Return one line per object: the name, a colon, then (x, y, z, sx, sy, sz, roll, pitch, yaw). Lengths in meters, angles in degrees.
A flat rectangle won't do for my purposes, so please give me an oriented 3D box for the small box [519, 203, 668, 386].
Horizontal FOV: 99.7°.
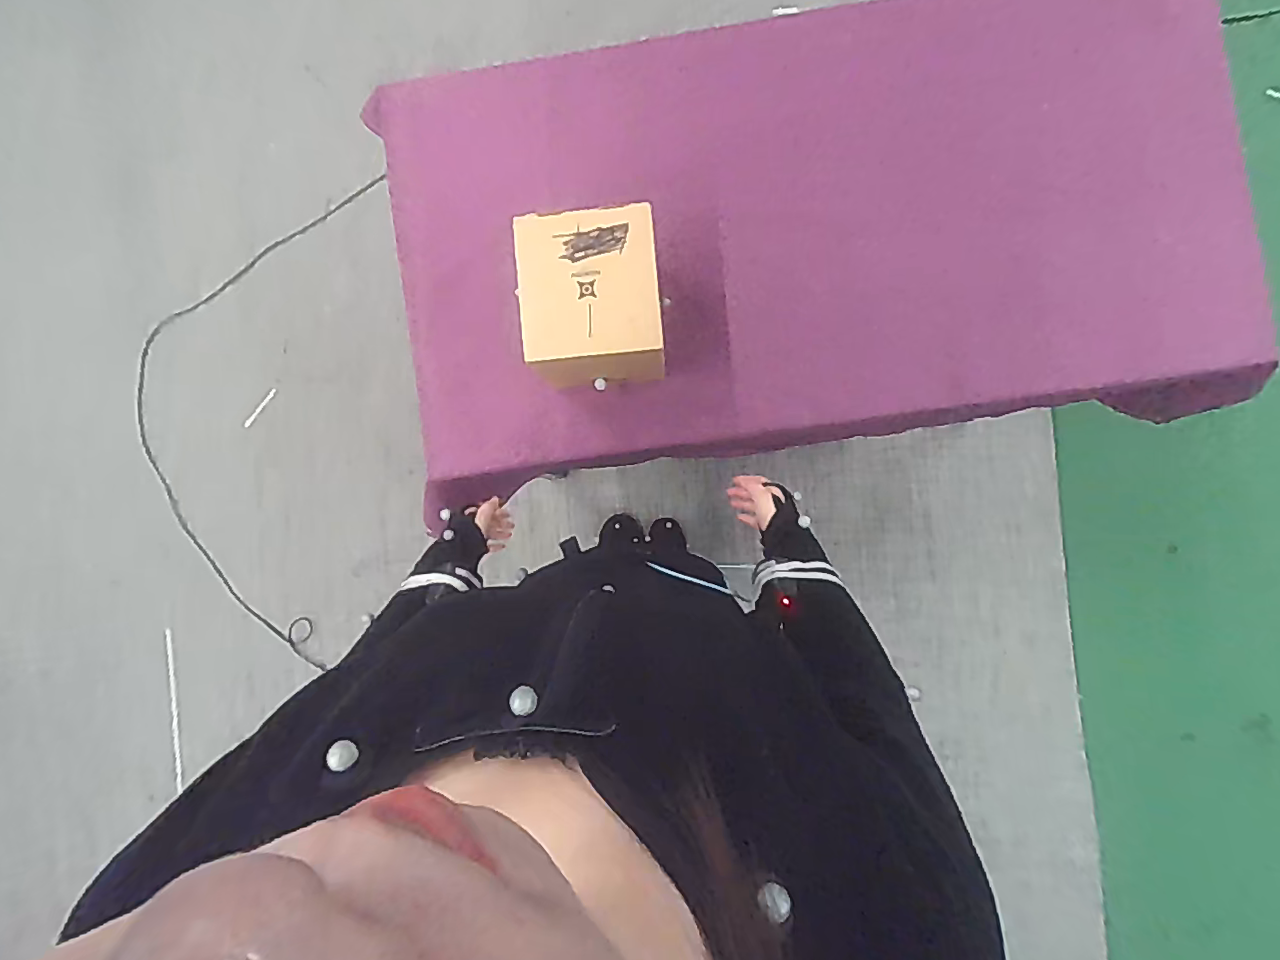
small box: (-0.053, -0.231, 0.711, 0.168, 0.176, 0.179, -5, 90, 3)
